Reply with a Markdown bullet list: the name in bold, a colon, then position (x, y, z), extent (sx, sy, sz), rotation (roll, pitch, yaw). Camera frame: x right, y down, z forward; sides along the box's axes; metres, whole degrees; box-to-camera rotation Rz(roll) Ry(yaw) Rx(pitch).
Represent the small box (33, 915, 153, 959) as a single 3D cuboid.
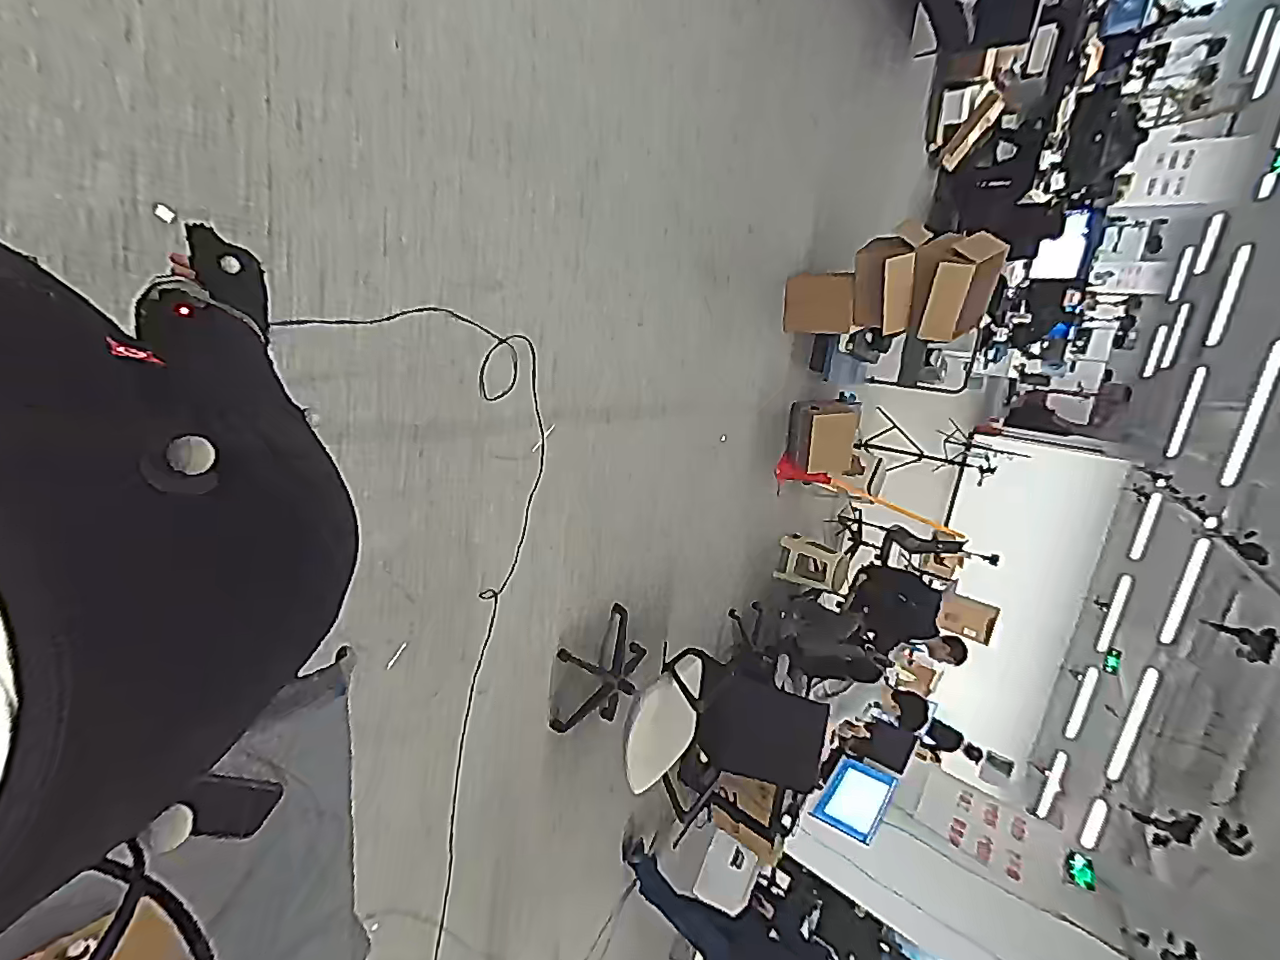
- **small box**: position (-0.636, 0.648, 0.594), extent (0.168, 0.176, 0.179), rotation (-11, 112, -52)
